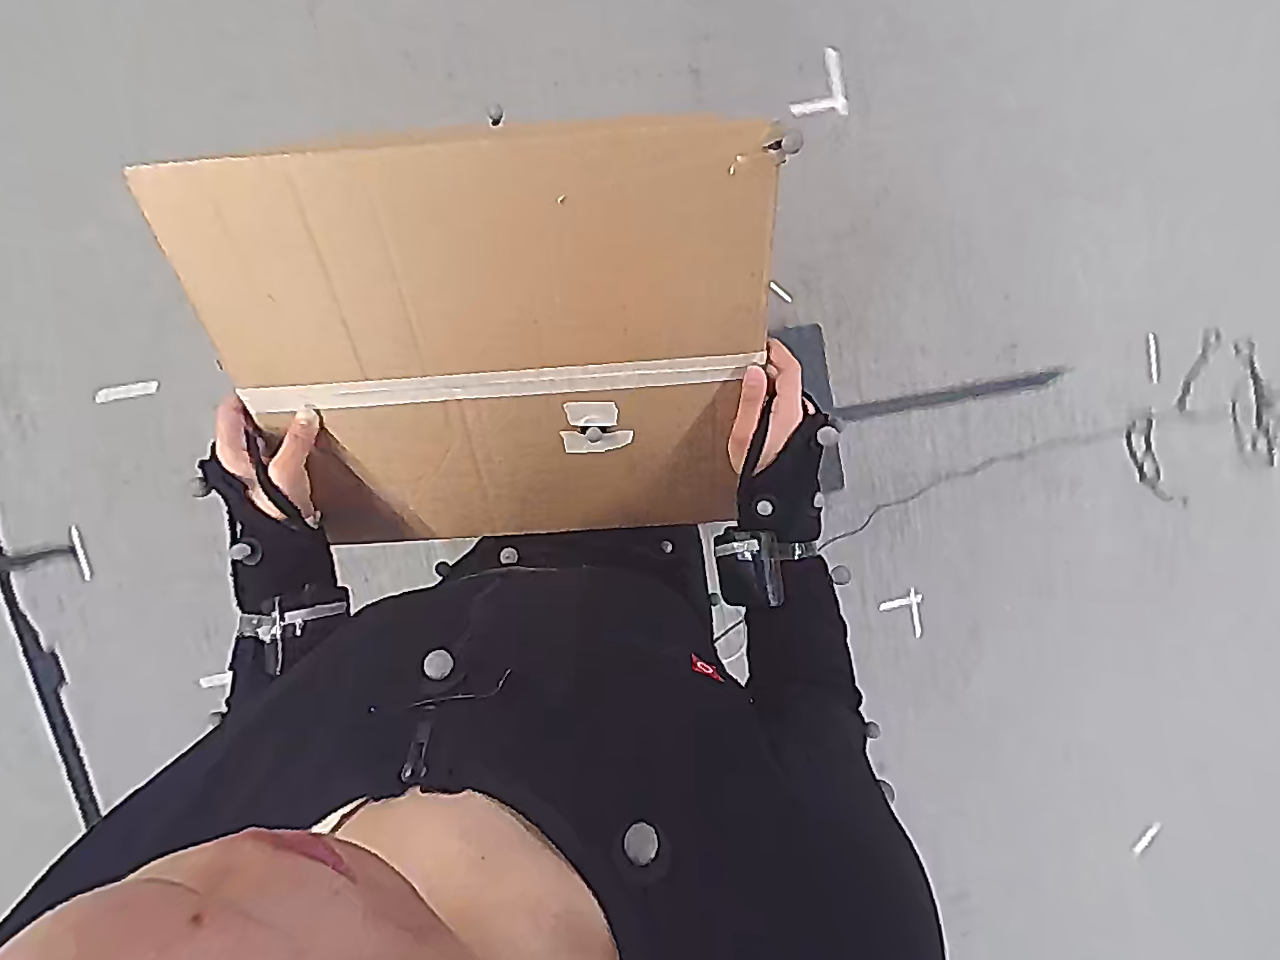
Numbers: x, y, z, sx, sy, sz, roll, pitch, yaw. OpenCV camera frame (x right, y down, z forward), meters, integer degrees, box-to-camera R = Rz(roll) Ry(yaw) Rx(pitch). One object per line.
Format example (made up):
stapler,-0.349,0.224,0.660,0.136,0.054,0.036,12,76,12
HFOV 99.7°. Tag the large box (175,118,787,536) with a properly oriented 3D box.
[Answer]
large box,-0.102,-0.169,0.551,0.408,0.320,0.320,-3,127,0

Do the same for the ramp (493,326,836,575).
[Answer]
ramp,0.074,-0.108,1.467,0.991,0.206,0.509,-14,96,-5
